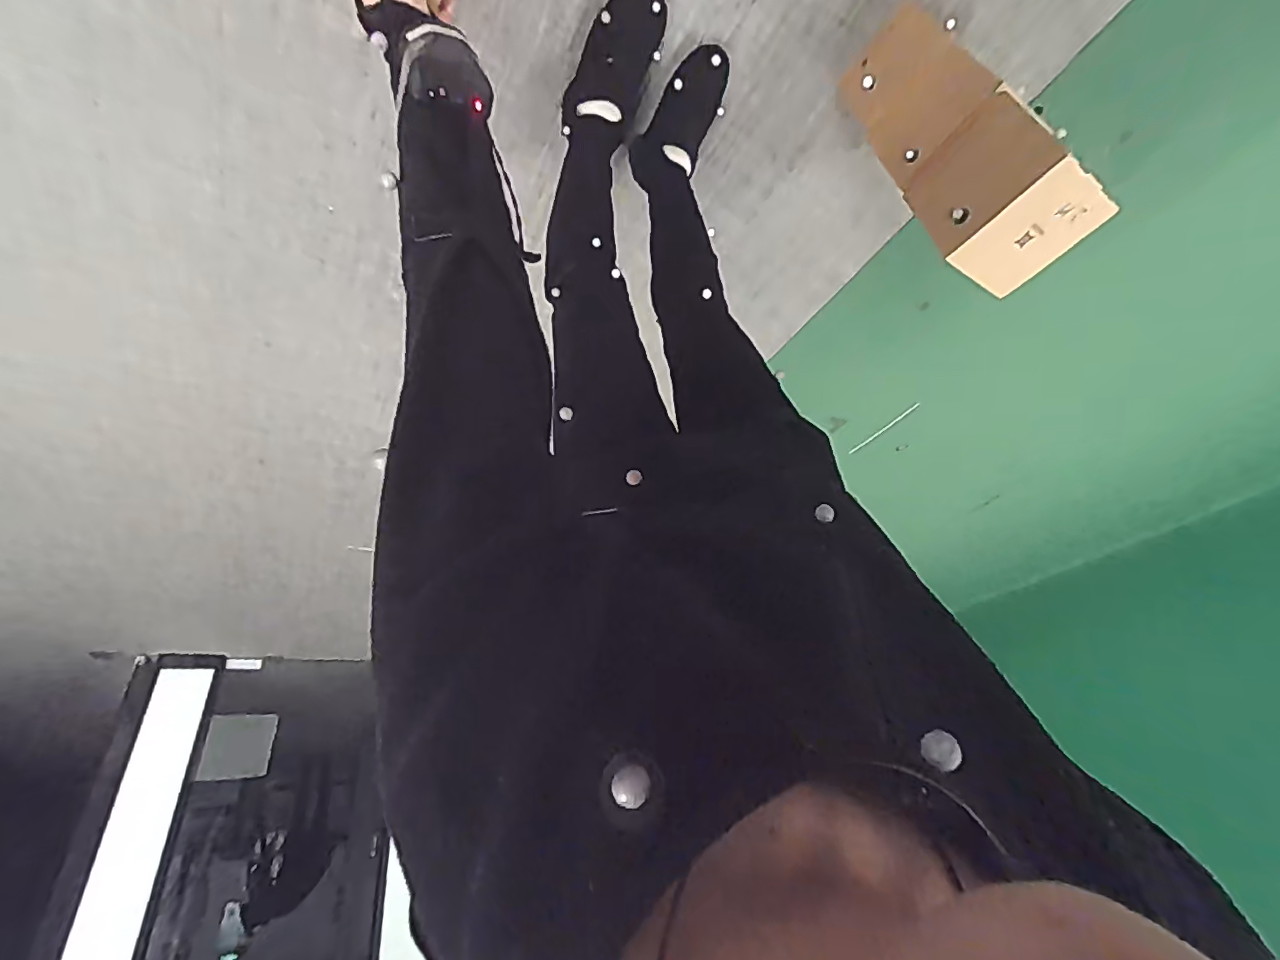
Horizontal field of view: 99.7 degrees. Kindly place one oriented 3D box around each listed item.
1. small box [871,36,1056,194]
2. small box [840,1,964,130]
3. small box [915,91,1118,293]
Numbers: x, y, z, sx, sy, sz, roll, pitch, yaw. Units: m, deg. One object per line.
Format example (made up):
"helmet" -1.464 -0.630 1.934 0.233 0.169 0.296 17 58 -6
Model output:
"small box" 0.520 -0.572 0.891 0.168 0.176 0.179 12 143 -30
"small box" 0.495 -0.709 0.974 0.179 0.176 0.168 14 141 -32
"small box" 0.549 -0.428 0.816 0.168 0.176 0.179 12 142 -31
